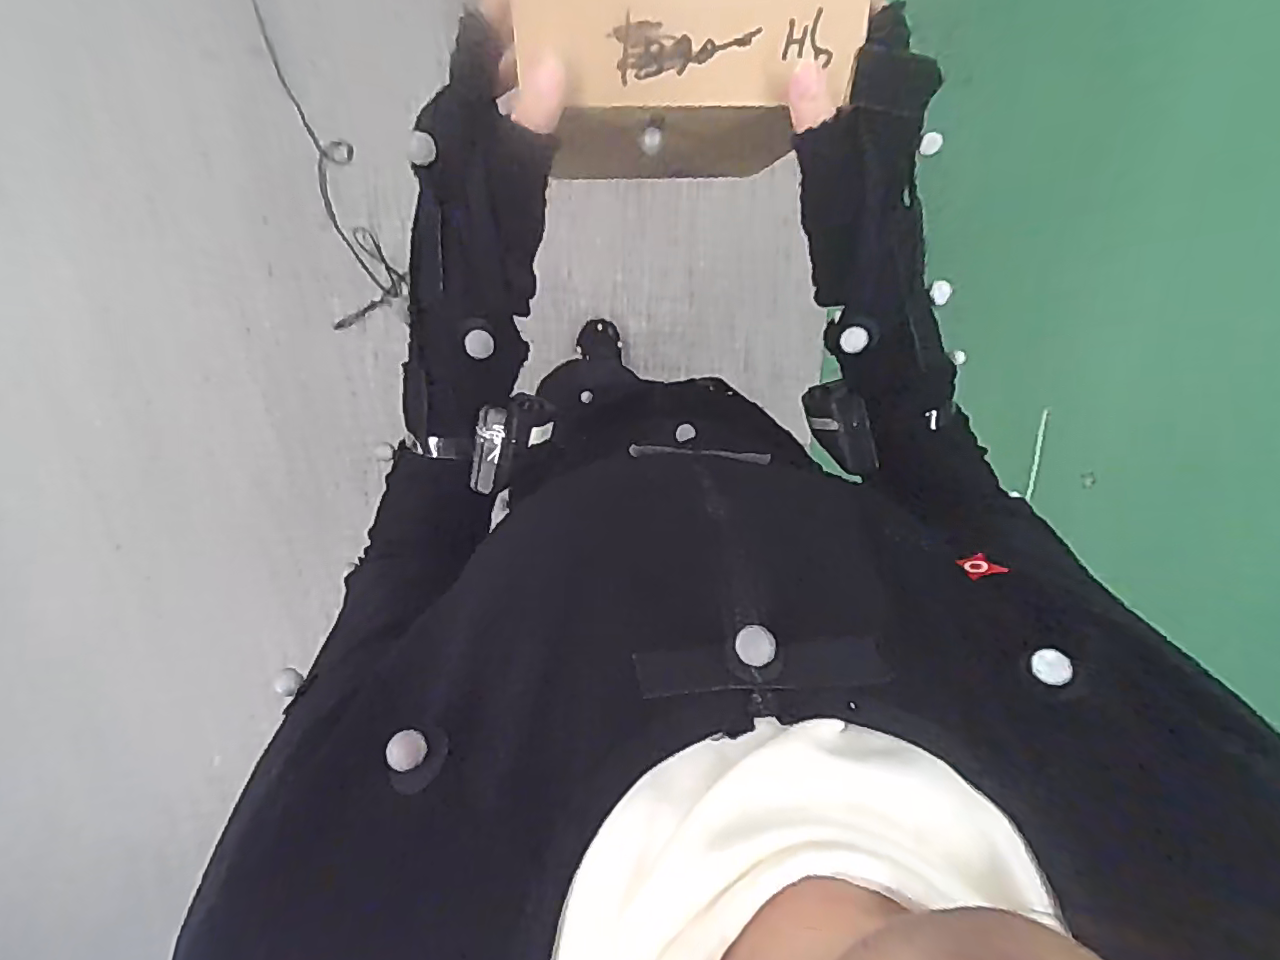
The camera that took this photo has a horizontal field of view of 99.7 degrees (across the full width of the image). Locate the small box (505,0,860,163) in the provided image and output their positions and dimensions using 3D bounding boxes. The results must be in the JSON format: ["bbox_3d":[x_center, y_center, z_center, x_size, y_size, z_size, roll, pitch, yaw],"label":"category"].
[{"bbox_3d":[0.011,-0.296,0.301,0.168,0.176,0.179,-3,109,-5],"label":"small box"}]
